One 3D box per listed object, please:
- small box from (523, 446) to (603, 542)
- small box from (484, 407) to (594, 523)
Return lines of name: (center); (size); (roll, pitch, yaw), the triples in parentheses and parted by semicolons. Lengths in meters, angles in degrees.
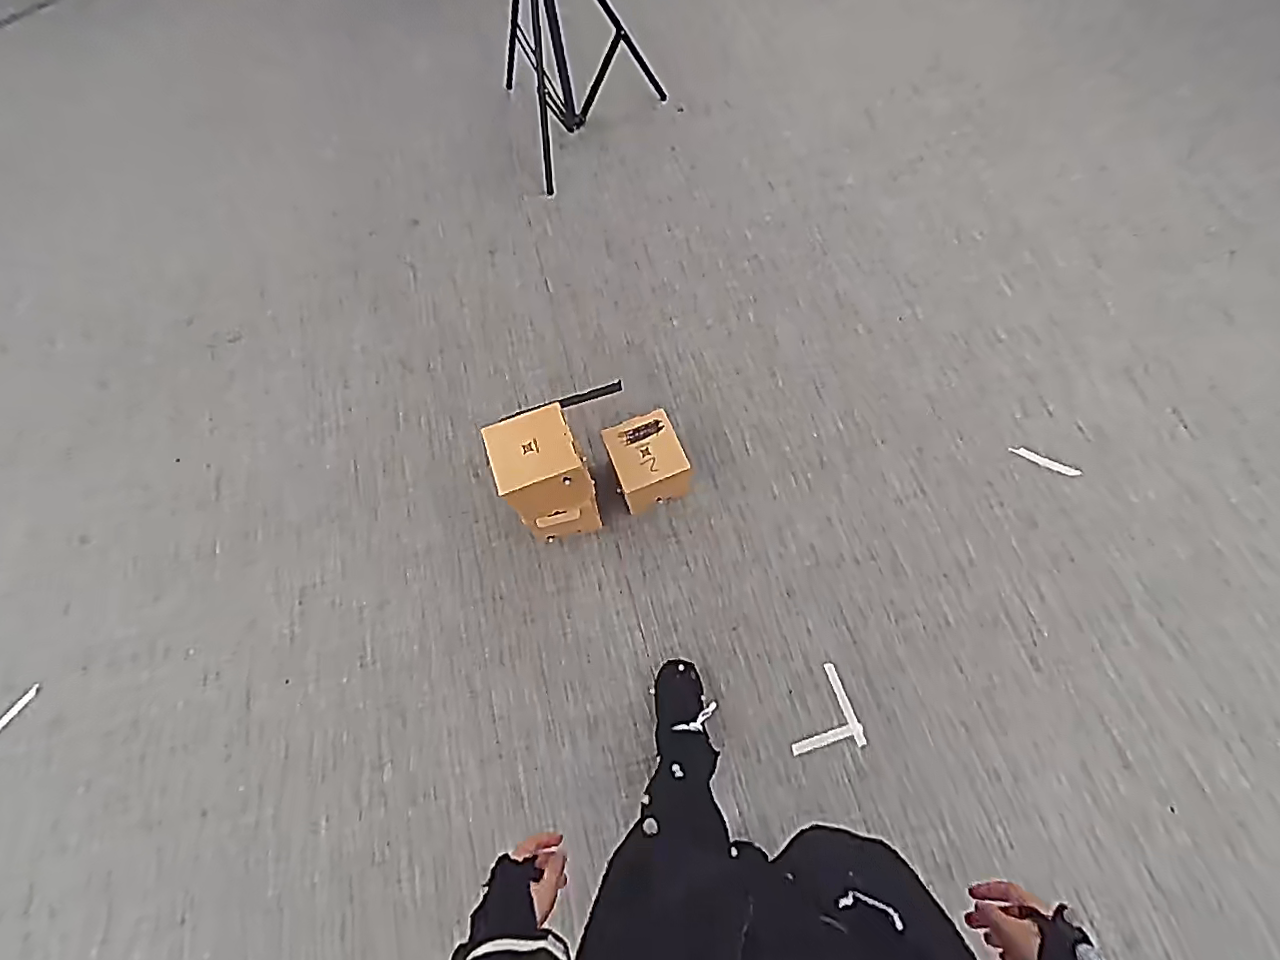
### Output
small box: (-0.196, 0.043, 1.331); (0.168, 0.176, 0.179); (-14, 66, 0)
small box: (-0.215, -0.026, 1.185); (0.179, 0.176, 0.168); (-21, 67, -4)
